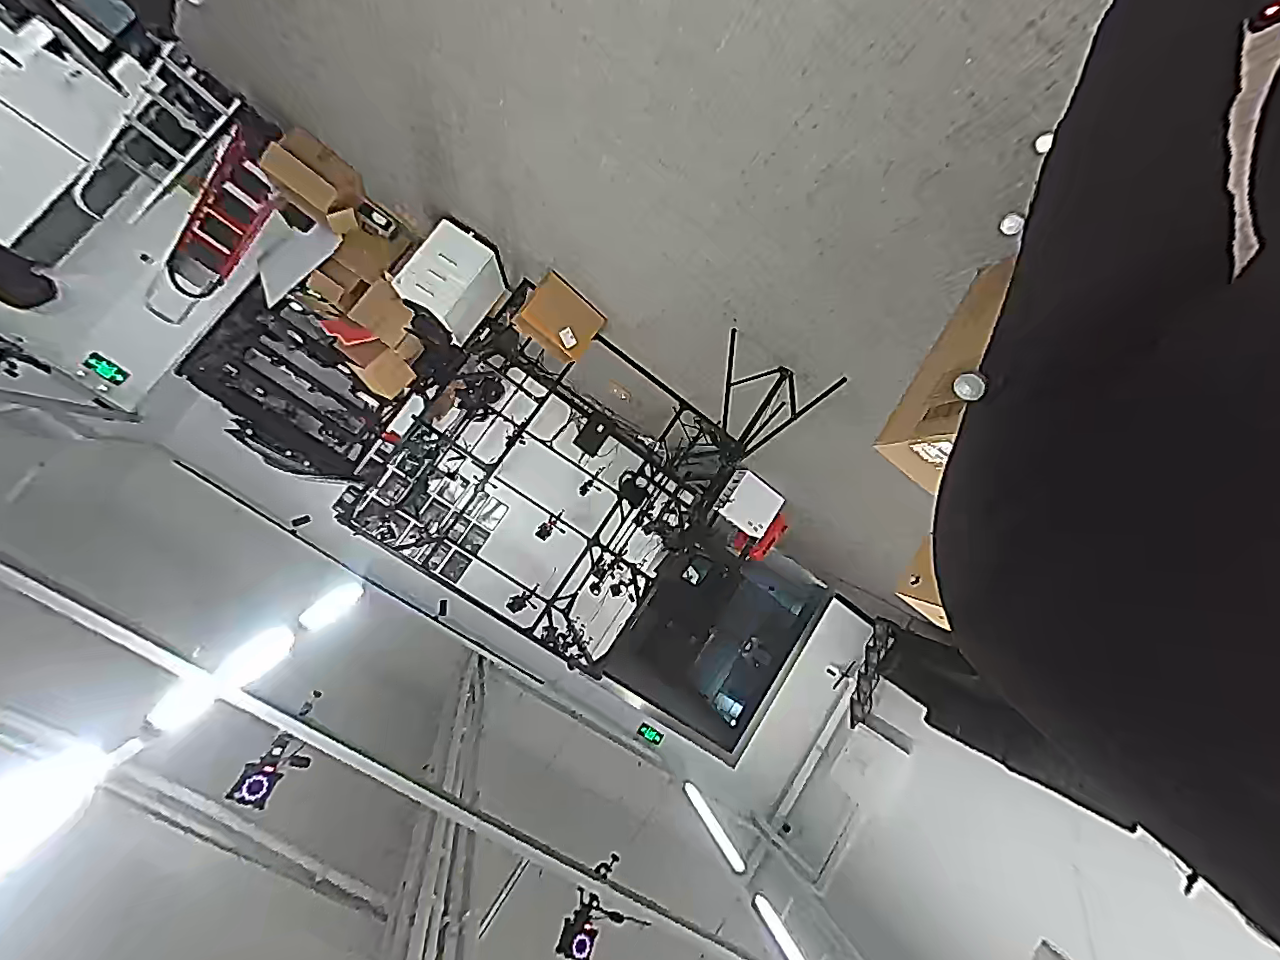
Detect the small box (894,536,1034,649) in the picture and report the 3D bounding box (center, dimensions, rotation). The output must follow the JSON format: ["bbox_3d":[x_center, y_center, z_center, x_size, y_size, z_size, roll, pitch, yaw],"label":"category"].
[{"bbox_3d":[0.720,0.241,1.205,0.168,0.176,0.179,35,172,-15],"label":"small box"}]
